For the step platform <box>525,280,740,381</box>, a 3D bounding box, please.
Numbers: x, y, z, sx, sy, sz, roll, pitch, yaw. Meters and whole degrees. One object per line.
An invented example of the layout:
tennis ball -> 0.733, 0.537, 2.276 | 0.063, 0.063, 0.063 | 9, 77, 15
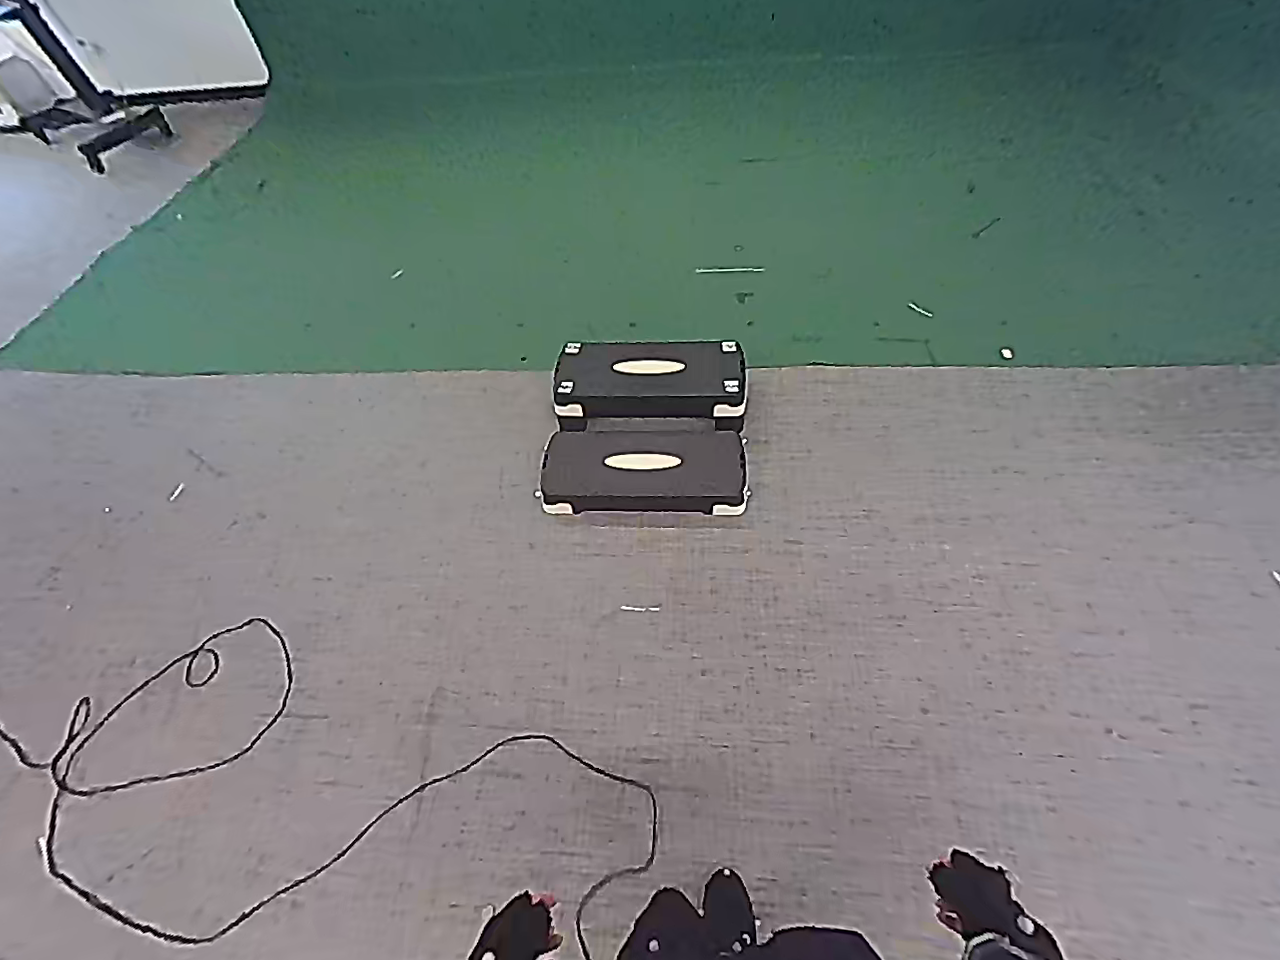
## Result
step platform -> -0.019, -0.491, 1.790 | 0.684, 0.204, 0.286 | 0, 55, 5
